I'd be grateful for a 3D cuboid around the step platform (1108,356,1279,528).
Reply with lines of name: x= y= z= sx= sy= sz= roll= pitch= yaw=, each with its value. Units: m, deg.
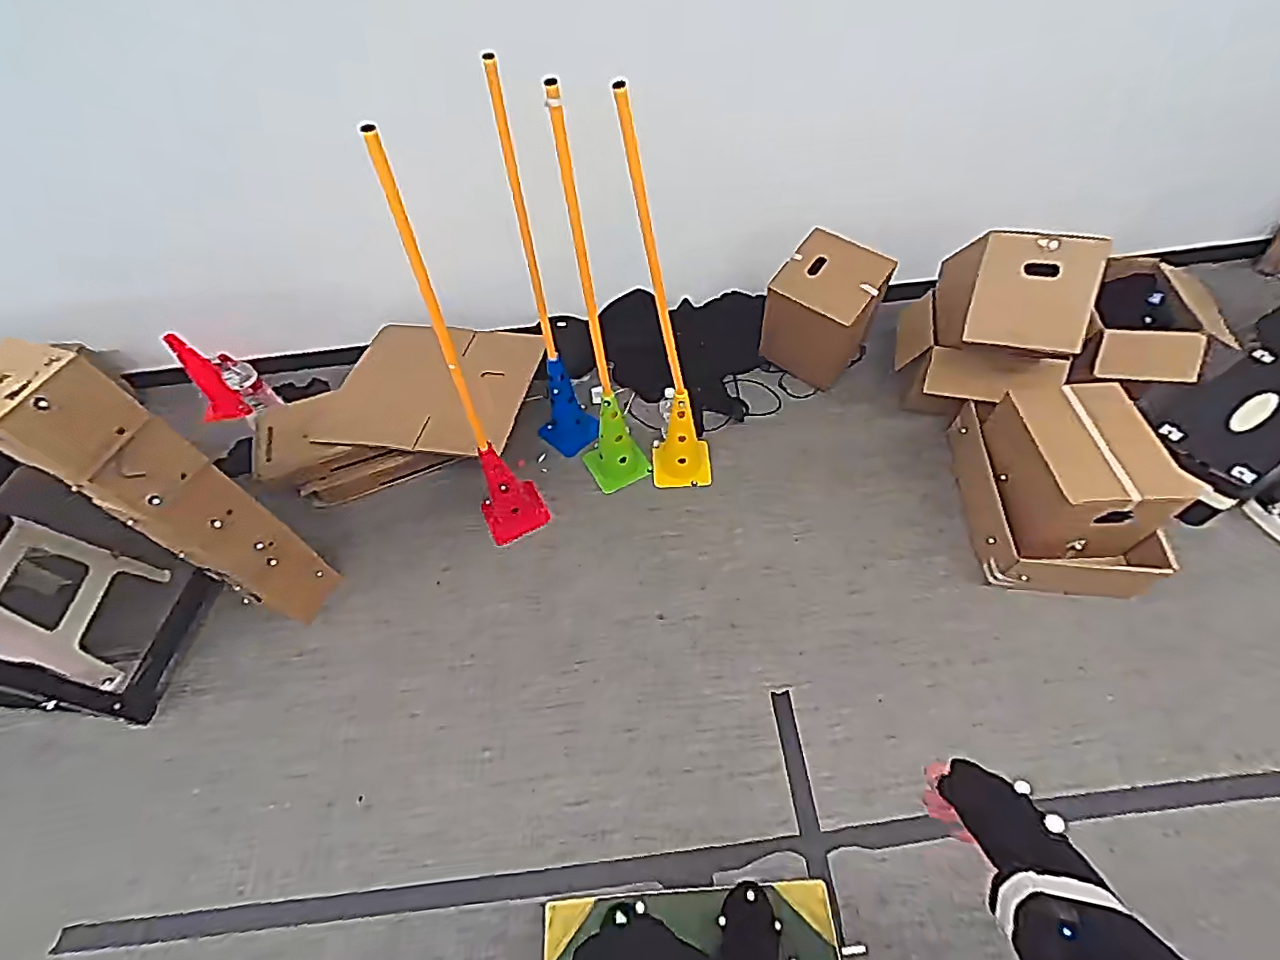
step platform: x=1.880 y=-0.137 z=1.741 sx=0.684 sy=0.204 sz=0.286 roll=-30 pitch=58 yaw=-16
